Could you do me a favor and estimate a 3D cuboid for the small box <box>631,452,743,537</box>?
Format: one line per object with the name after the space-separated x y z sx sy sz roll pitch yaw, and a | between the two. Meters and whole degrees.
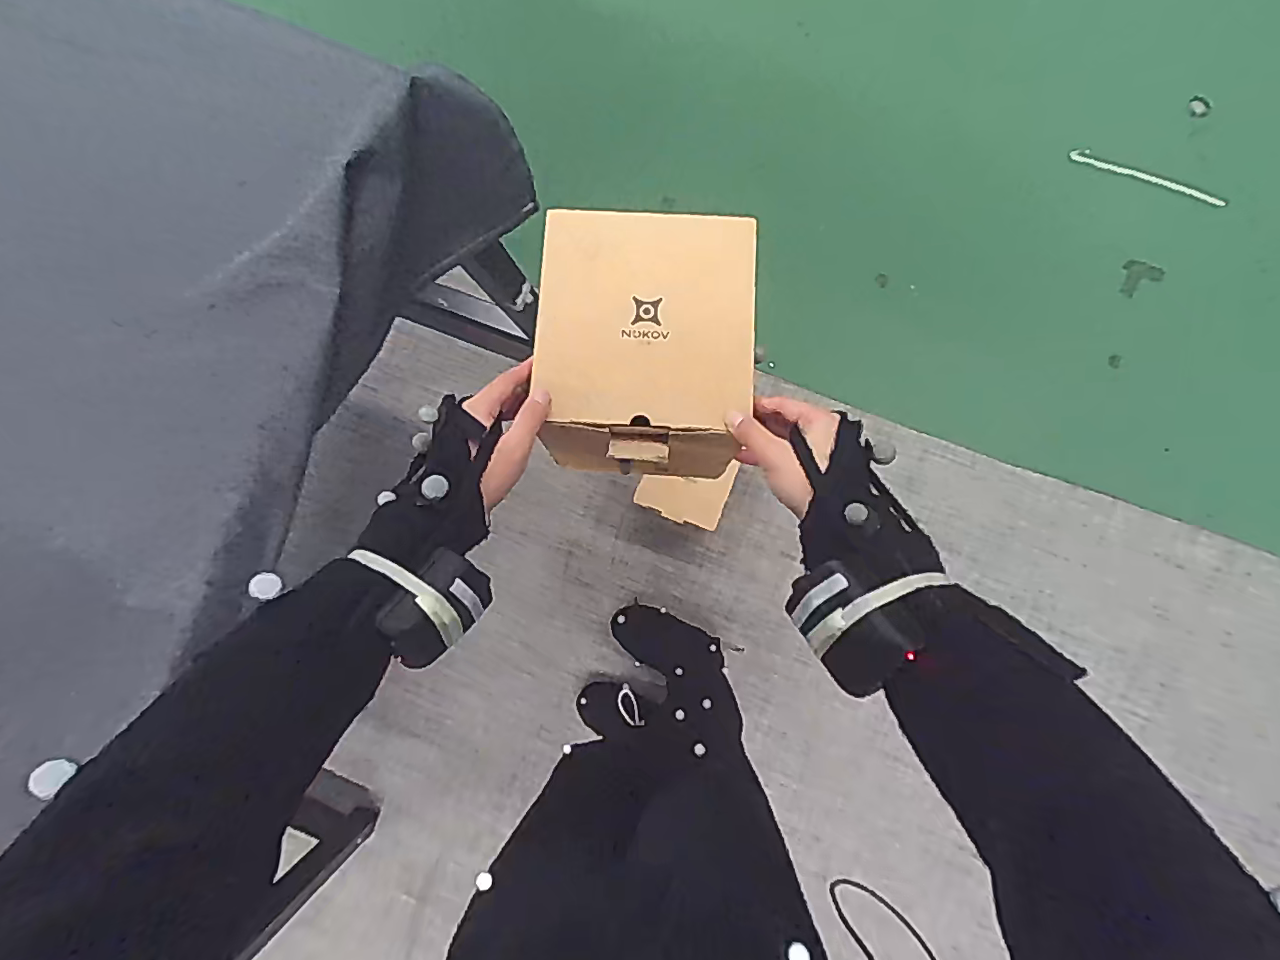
0.097 0.003 1.089 0.168 0.176 0.179 21 88 7 | small box

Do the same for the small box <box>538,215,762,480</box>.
0.009 -0.106 0.492 0.168 0.176 0.179 3 79 0 | small box
